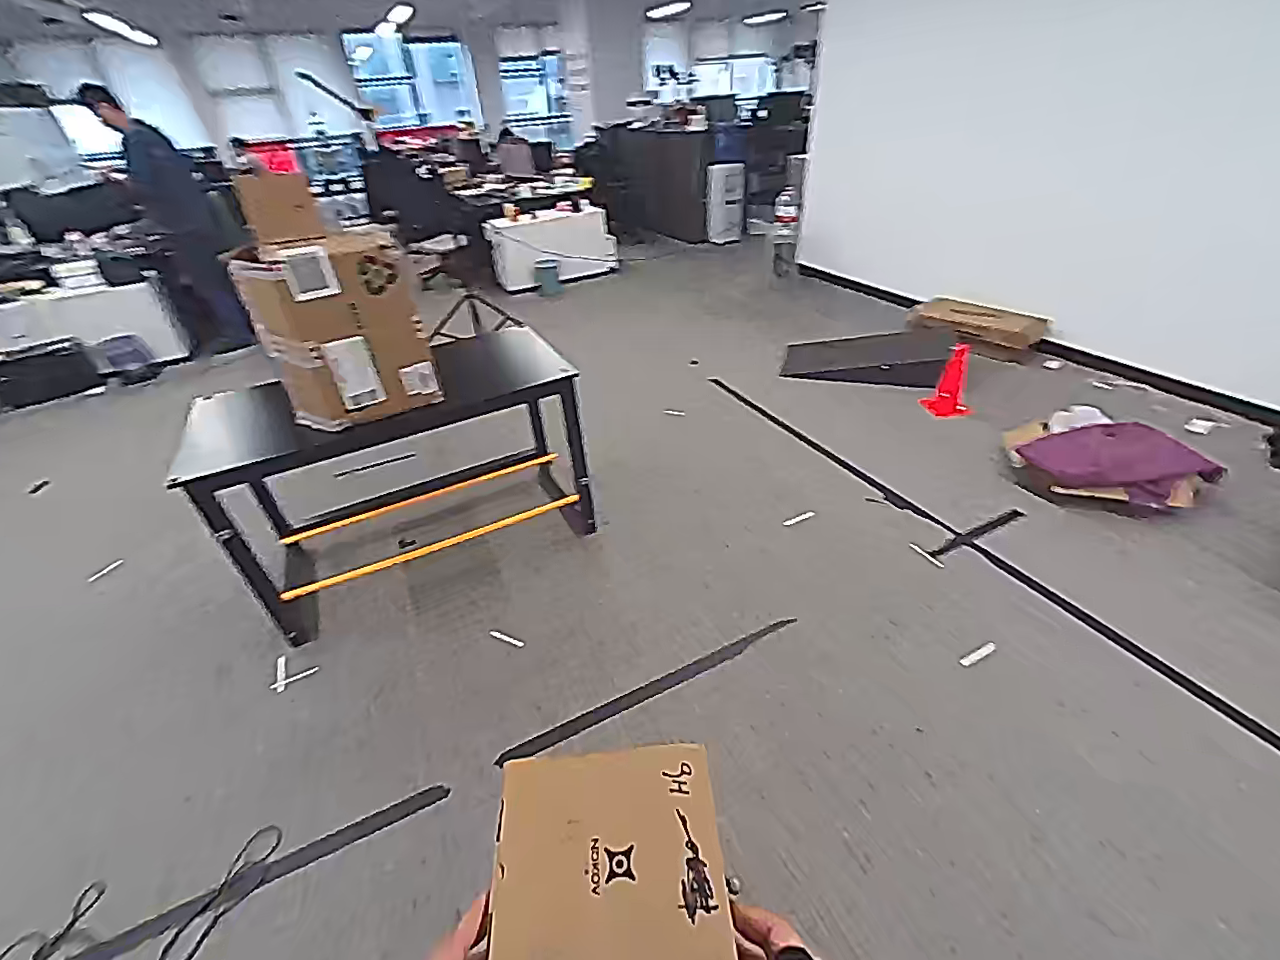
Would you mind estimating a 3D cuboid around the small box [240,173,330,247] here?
[{"bbox_3d":[-1.021,-0.787,1.569,0.179,0.176,0.168,-21,35,-23],"label":"small box"}]

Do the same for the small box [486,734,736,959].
[{"bbox_3d":[-0.021,0.347,0.475,0.179,0.176,0.168,-4,43,-2],"label":"small box"}]
